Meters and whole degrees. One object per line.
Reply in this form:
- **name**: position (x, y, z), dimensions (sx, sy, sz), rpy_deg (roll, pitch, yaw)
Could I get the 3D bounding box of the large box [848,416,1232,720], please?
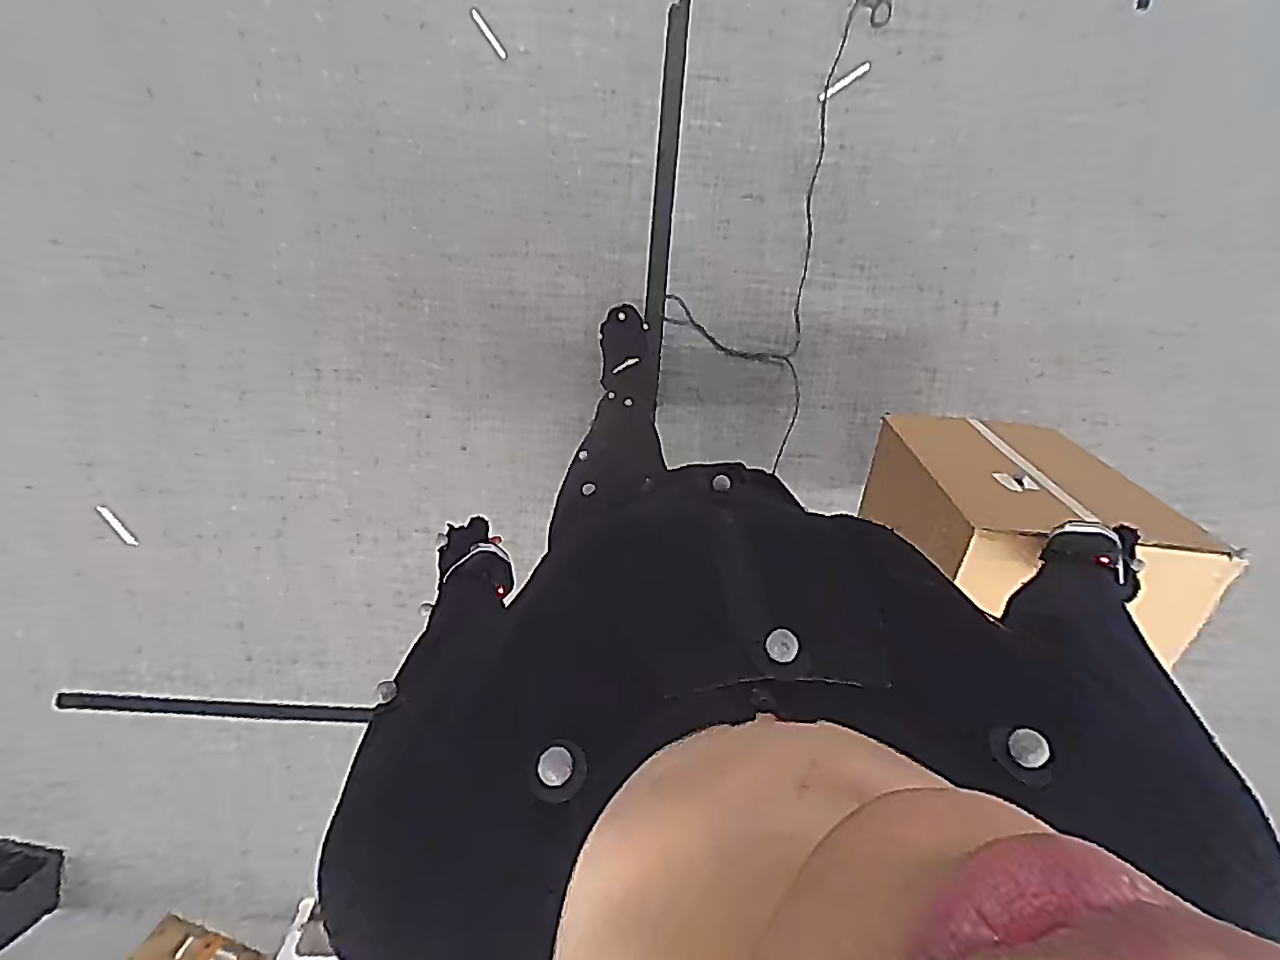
- **large box**: position (0.584, 0.119, 0.912), dimensions (0.320, 0.408, 0.320), rpy_deg (5, 119, 5)
